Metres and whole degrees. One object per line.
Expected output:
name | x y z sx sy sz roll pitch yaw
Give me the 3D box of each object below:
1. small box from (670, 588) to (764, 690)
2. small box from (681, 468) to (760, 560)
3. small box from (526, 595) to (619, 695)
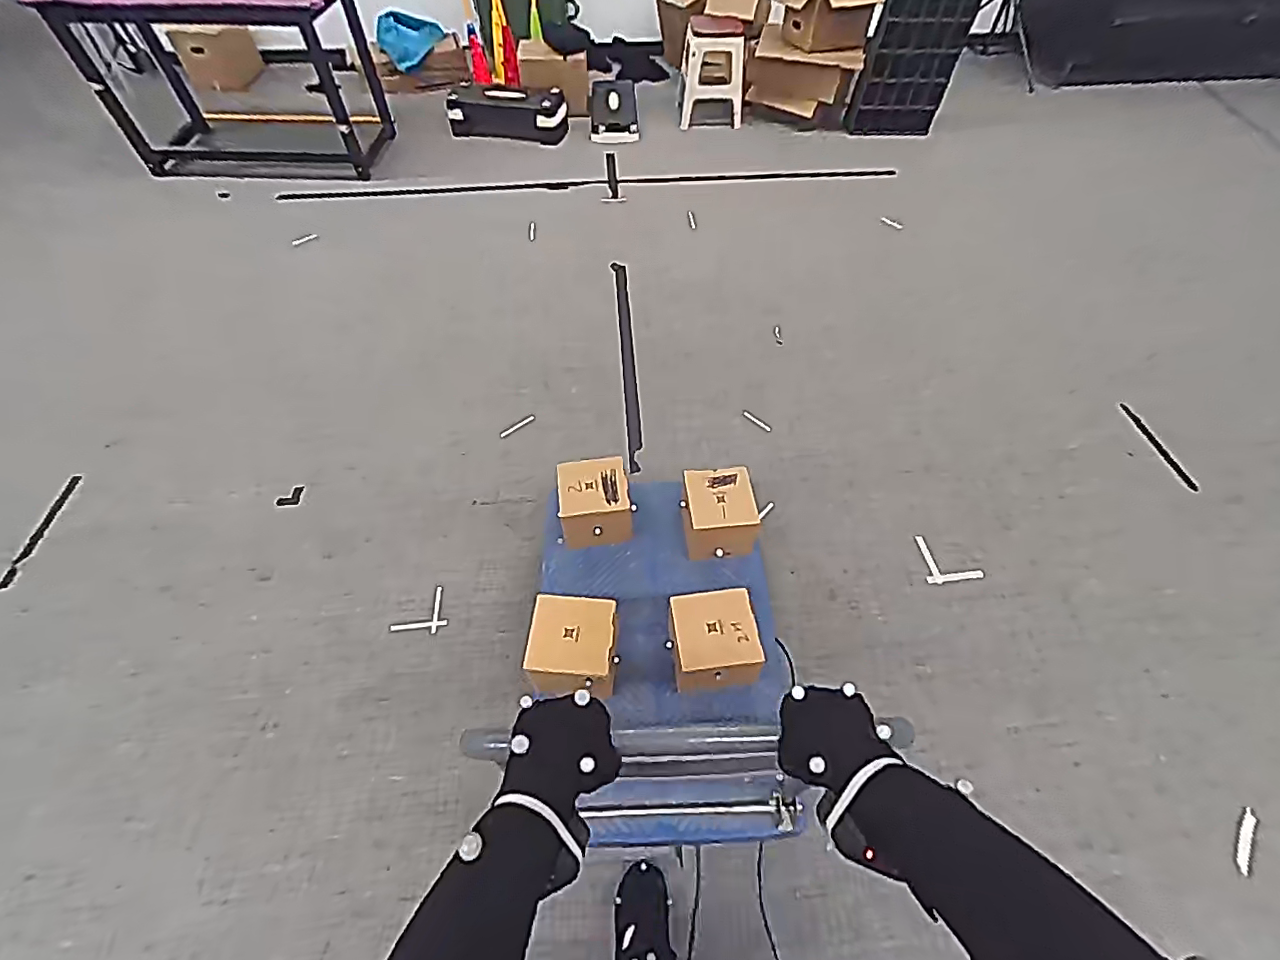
small box | 0.163 0.363 1.220 0.179 0.176 0.168 -6 54 -4
small box | 0.202 0.091 1.418 0.168 0.176 0.179 -4 55 -3
small box | -0.143 0.373 1.214 0.179 0.176 0.168 4 54 1
